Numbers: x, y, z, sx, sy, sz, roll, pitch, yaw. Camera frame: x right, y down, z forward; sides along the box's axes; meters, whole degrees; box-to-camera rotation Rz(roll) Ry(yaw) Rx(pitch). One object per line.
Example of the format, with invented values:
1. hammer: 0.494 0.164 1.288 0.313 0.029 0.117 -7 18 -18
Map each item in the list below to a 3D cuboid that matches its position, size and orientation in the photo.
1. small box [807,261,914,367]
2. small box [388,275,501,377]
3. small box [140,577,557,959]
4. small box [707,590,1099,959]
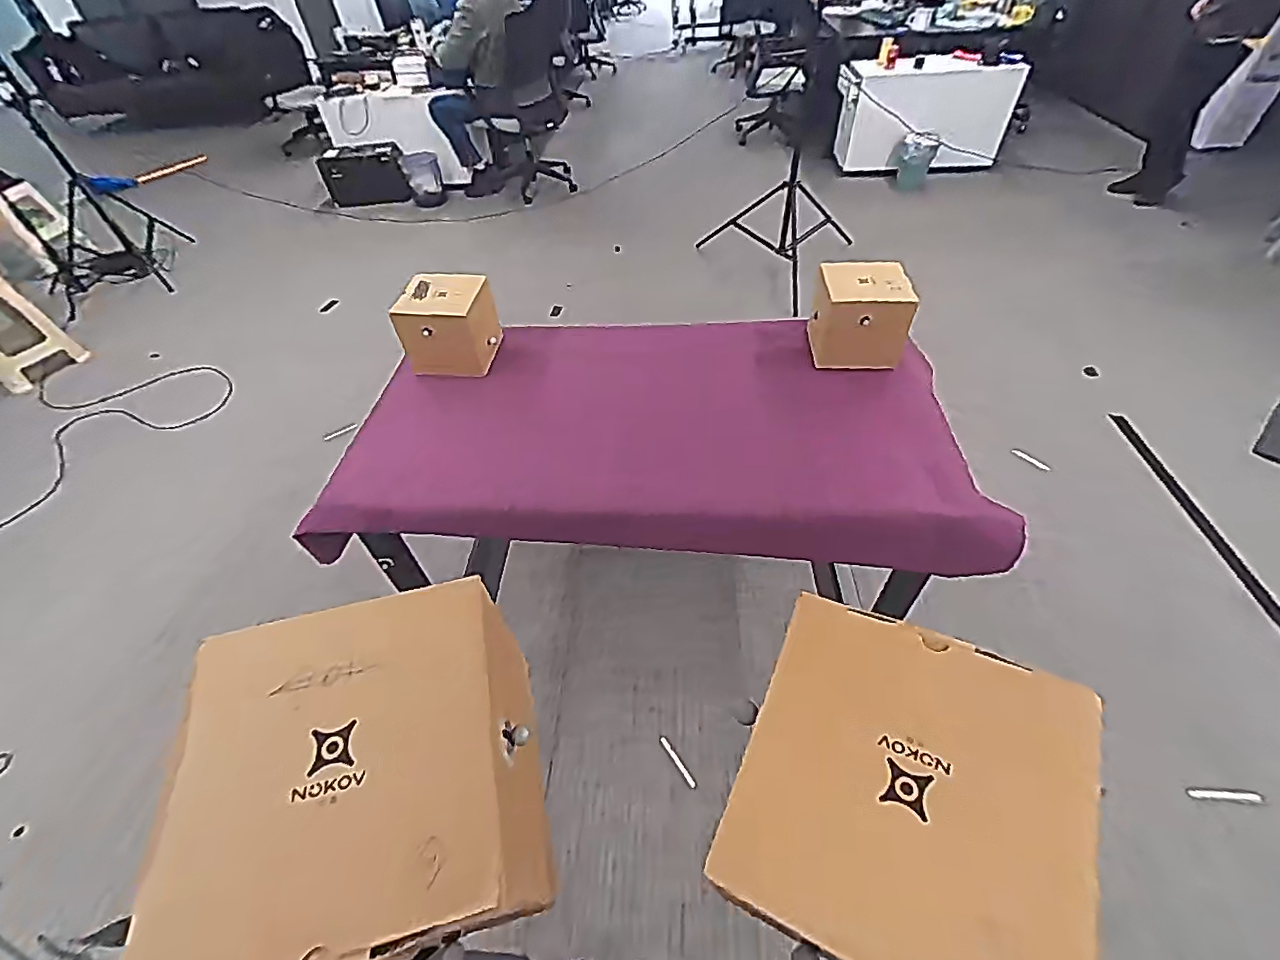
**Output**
1. small box: 0.478 -0.367 1.205 0.179 0.176 0.168 1 49 4
2. small box: -0.444 -0.357 1.260 0.179 0.176 0.168 3 50 5
3. small box: -0.155 0.193 0.350 0.168 0.176 0.179 -12 53 -9
4. small box: 0.157 0.207 0.347 0.168 0.176 0.179 16 55 24
